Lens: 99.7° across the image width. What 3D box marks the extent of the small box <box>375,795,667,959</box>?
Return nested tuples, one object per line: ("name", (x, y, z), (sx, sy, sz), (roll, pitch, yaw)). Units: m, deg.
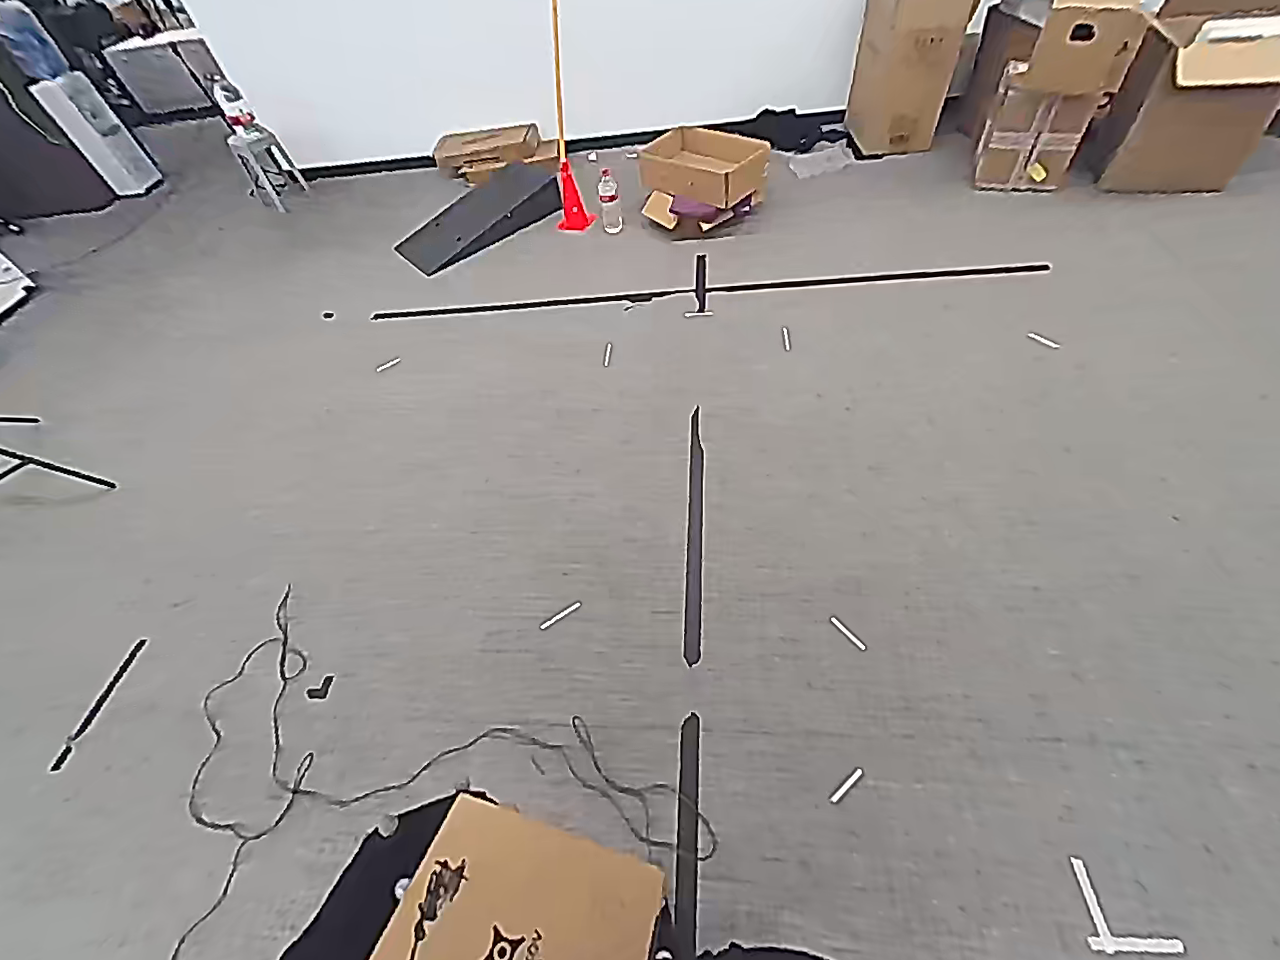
("small box", (-0.095, 0.383, 0.405), (0.179, 0.176, 0.168), (16, 34, 8))
